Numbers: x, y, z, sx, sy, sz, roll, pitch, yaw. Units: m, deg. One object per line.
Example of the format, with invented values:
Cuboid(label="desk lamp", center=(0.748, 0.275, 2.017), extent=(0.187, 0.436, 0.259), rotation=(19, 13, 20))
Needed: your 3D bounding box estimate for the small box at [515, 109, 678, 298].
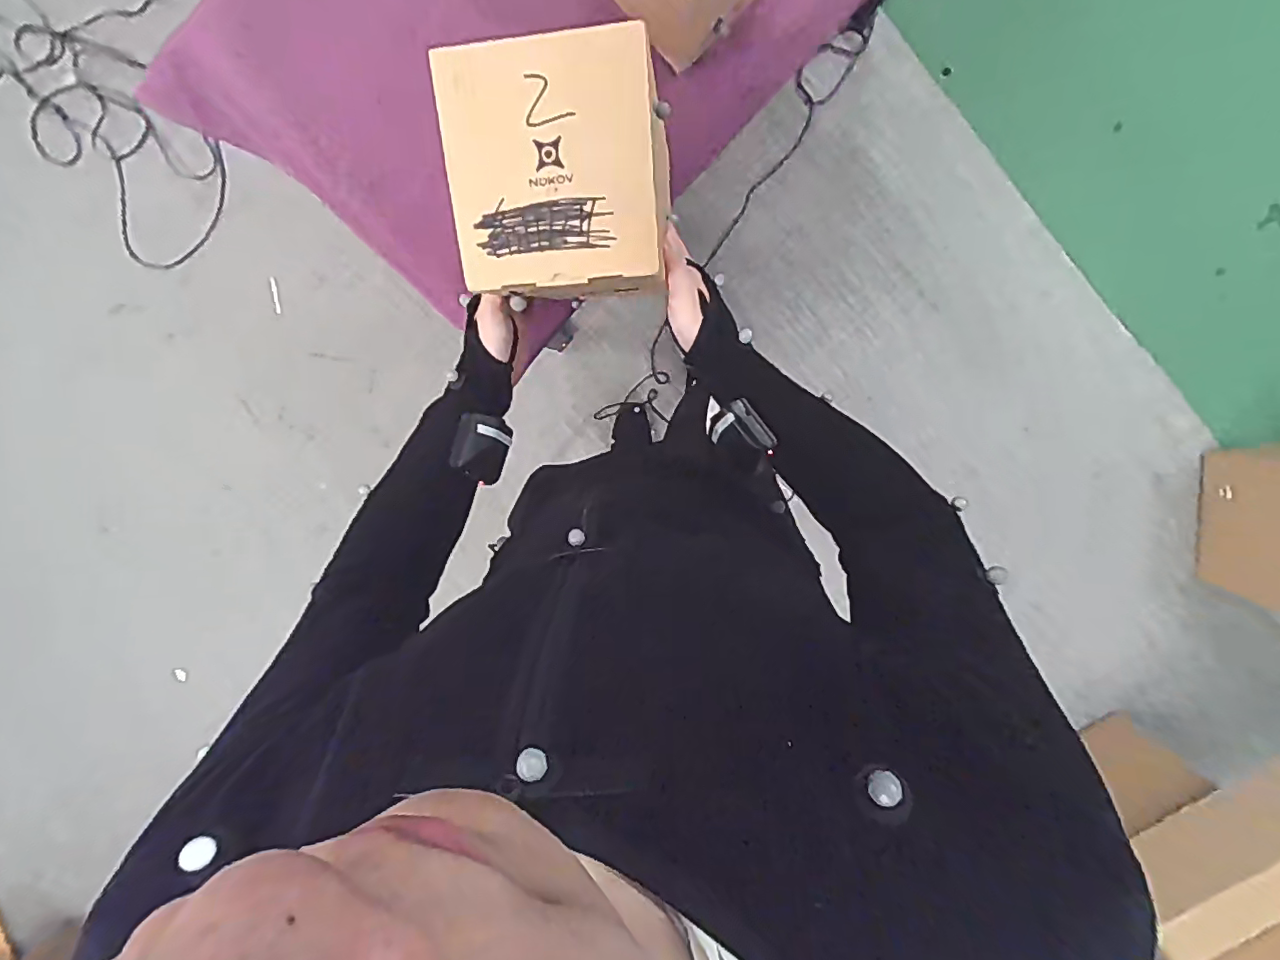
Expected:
Cuboid(label="small box", center=(-0.039, -0.314, 0.653), extent=(0.168, 0.176, 0.179), rotation=(-1, 106, 5))
